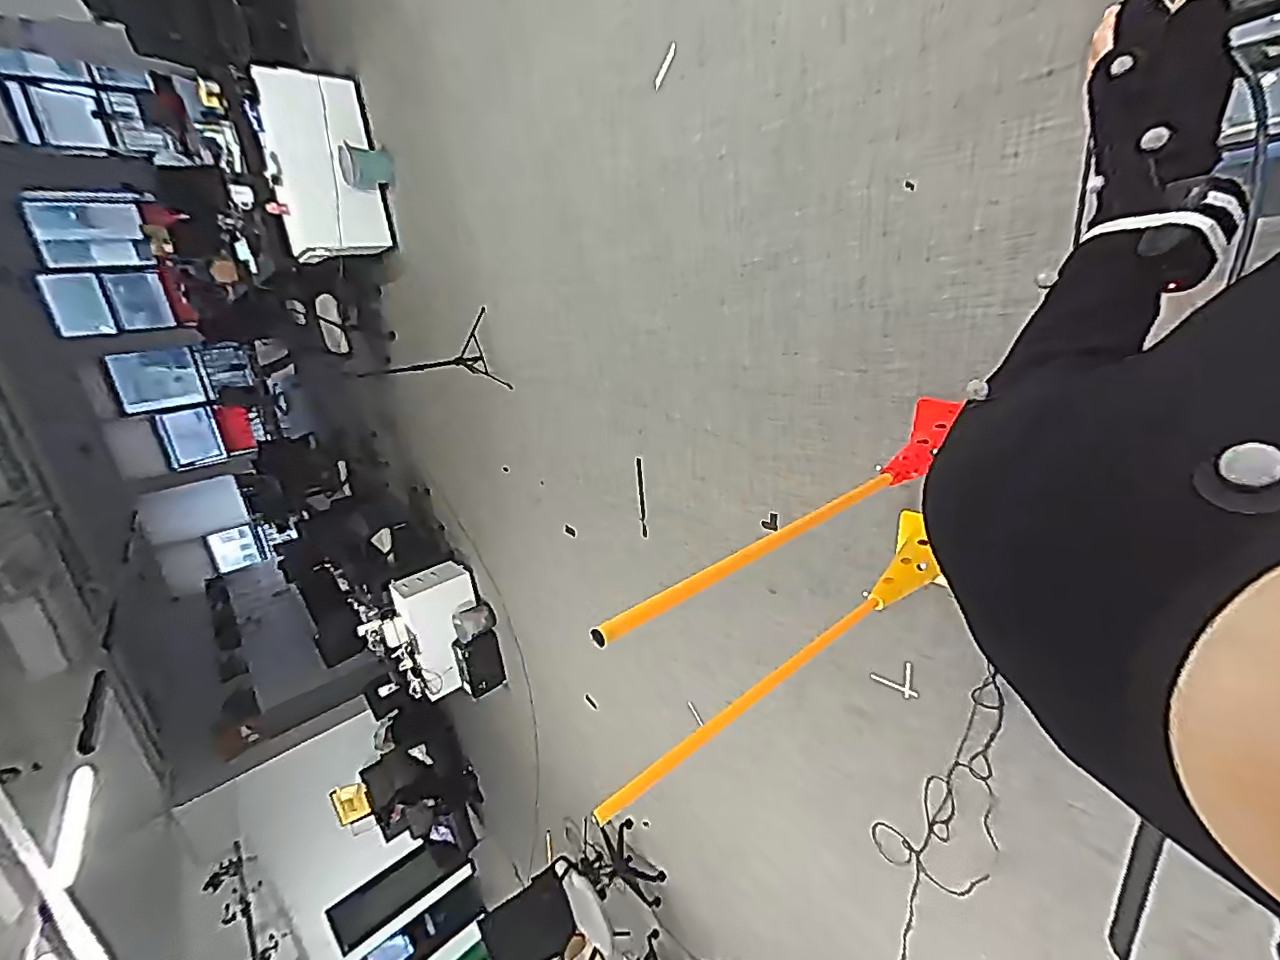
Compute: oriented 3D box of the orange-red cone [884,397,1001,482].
[{"bbox_3d":[0.689,-0.062,1.310,0.198,0.360,0.199,24,123,43],"label":"orange-red cone"}]
